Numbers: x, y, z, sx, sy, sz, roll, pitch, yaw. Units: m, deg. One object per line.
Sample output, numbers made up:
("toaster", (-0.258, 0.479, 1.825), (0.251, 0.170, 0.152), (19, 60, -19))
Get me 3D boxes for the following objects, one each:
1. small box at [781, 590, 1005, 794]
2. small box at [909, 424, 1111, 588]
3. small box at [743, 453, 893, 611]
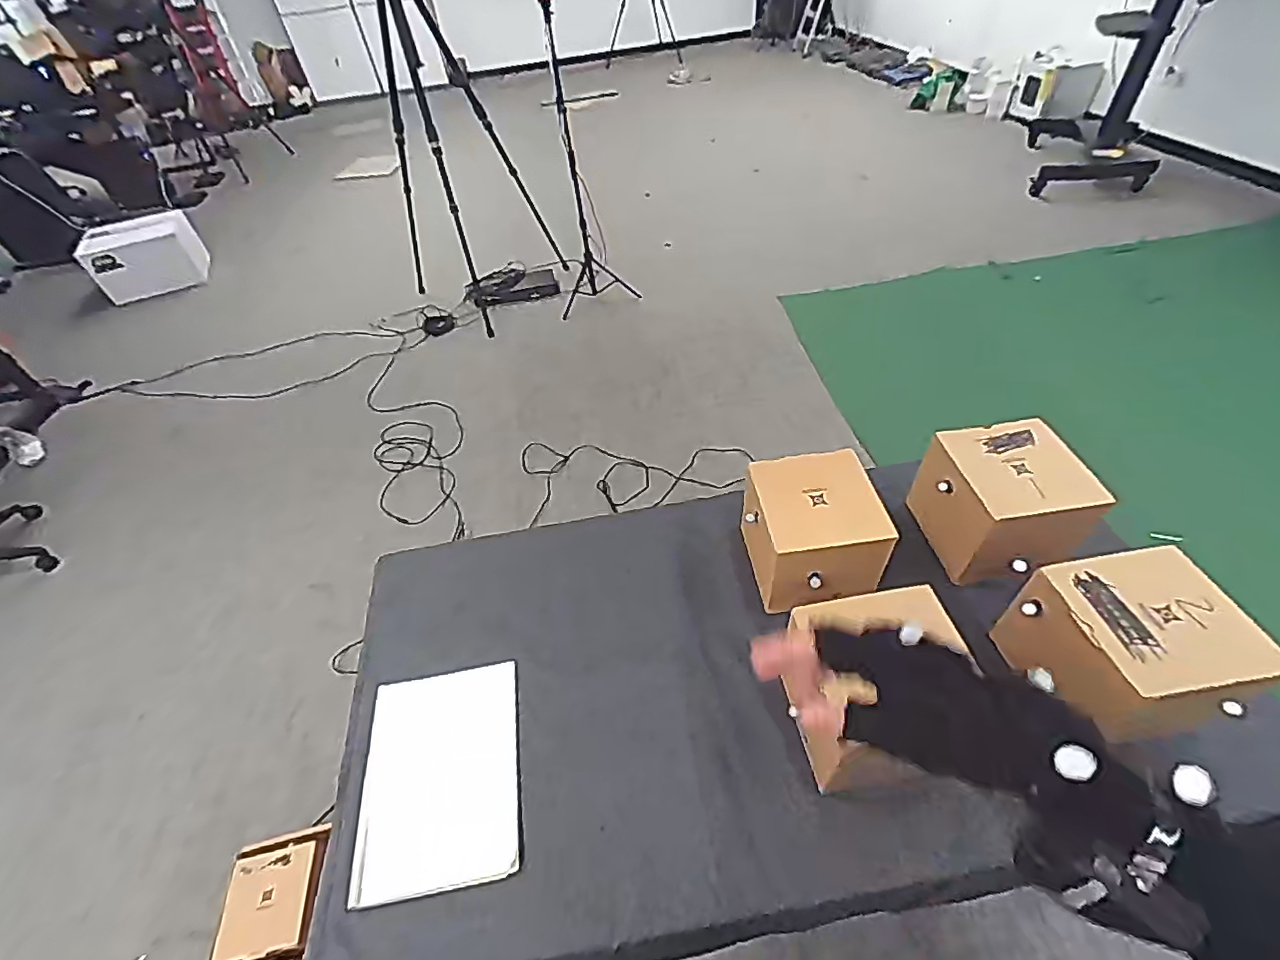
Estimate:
("small box", (0.285, 0.259, 0.657), (0.179, 0.176, 0.168), (-10, 45, -1))
("small box", (0.544, 0.041, 0.832), (0.168, 0.176, 0.179), (-8, 47, 0))
("small box", (0.259, 0.087, 0.830), (0.168, 0.176, 0.179), (-8, 46, 0))
